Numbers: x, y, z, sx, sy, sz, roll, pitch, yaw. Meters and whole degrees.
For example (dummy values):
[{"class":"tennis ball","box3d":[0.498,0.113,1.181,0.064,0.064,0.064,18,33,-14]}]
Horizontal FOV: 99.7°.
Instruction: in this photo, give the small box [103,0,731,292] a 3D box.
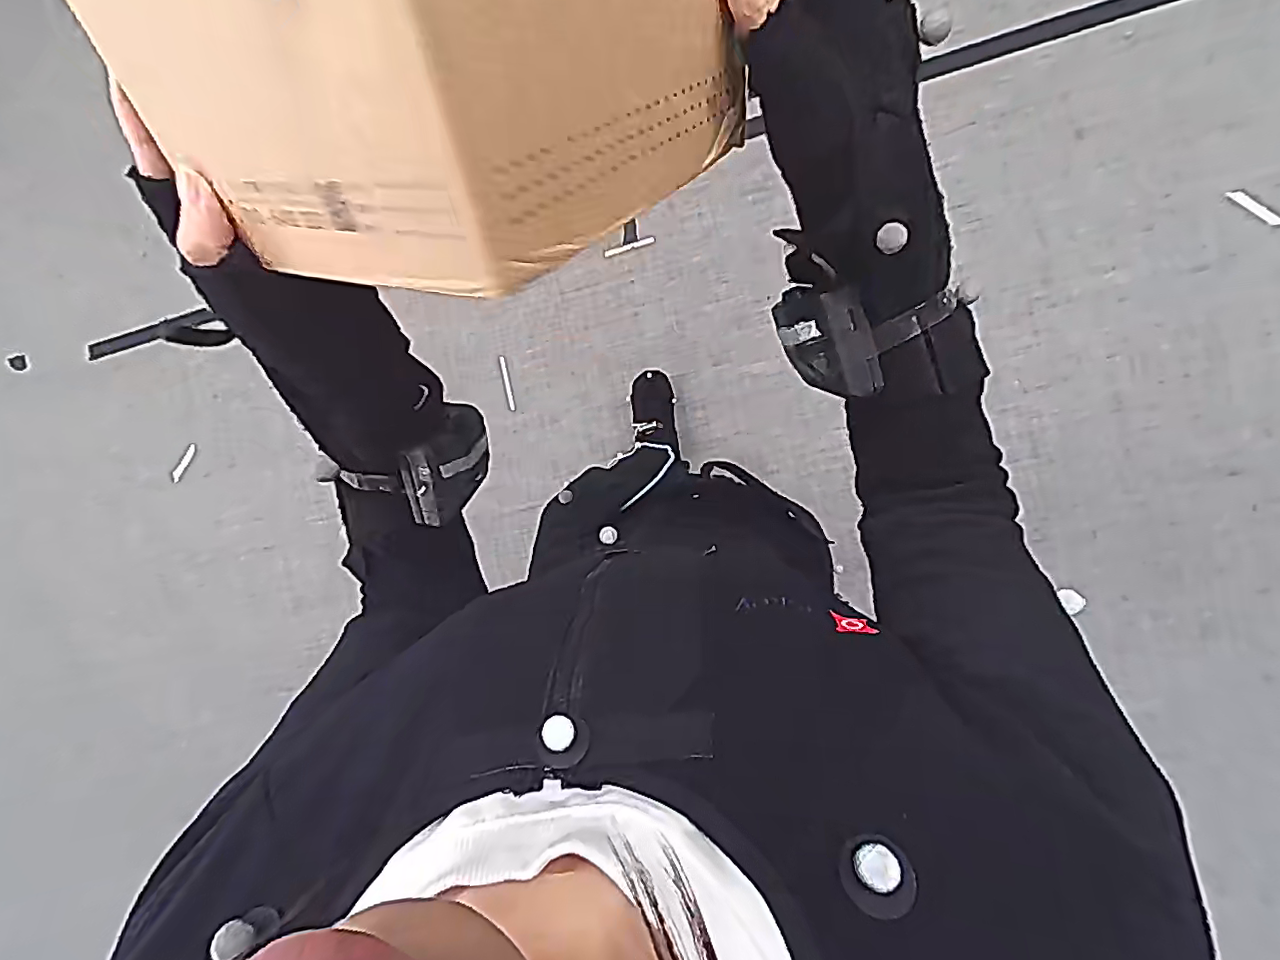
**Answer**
[{"class":"small box","box3d":[-0.074,-0.185,0.198,0.168,0.179,0.176,20,139,30]}]
